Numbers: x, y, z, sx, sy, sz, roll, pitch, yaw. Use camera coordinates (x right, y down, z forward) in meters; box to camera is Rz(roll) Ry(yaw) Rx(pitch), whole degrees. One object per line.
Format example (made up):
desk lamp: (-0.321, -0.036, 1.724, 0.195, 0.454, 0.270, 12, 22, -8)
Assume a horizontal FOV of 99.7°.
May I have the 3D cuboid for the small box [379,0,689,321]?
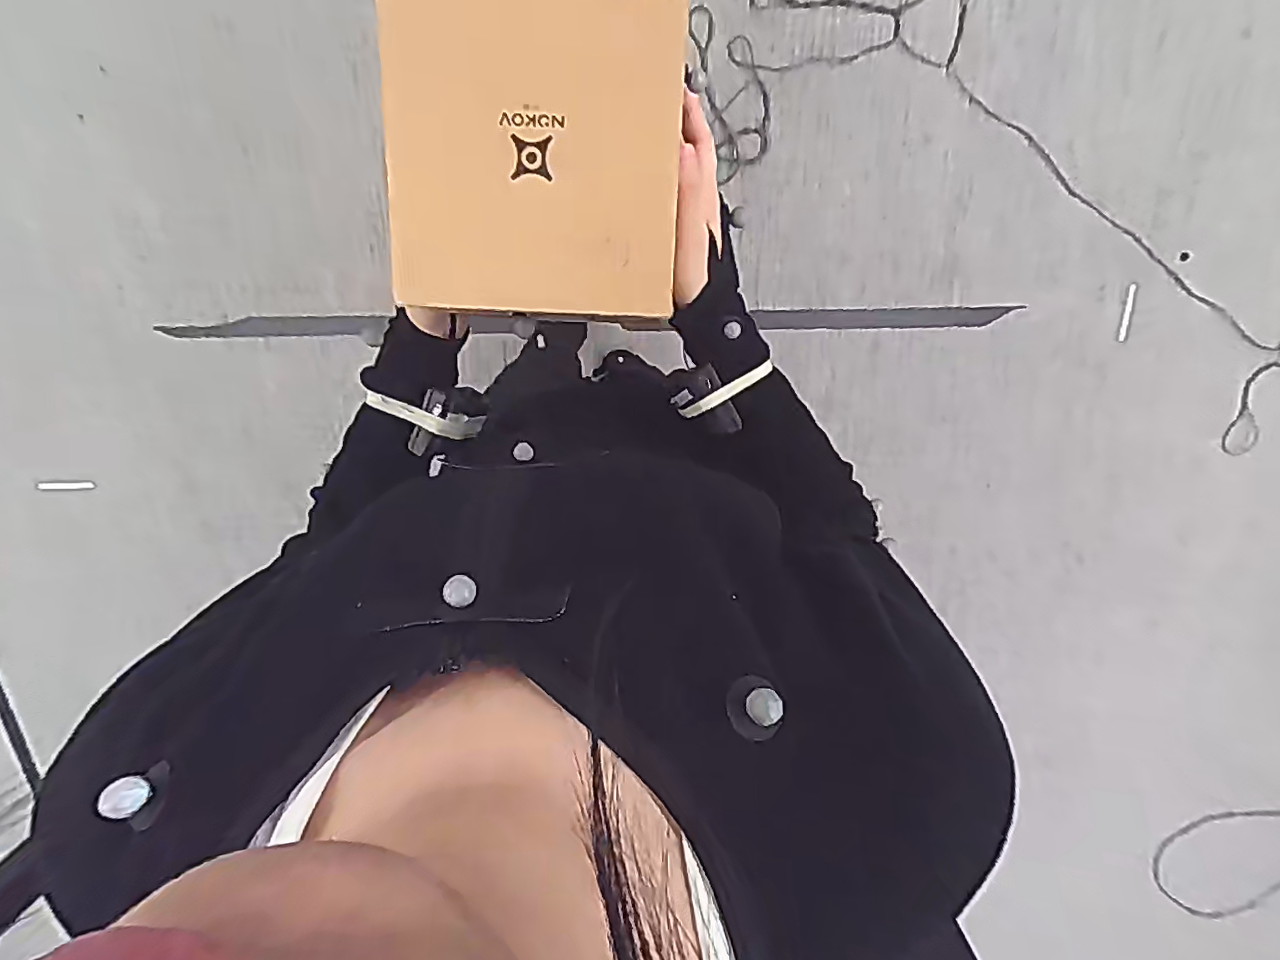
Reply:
small box: (-0.057, -0.207, 0.377, 0.168, 0.176, 0.179, 3, 103, 0)
